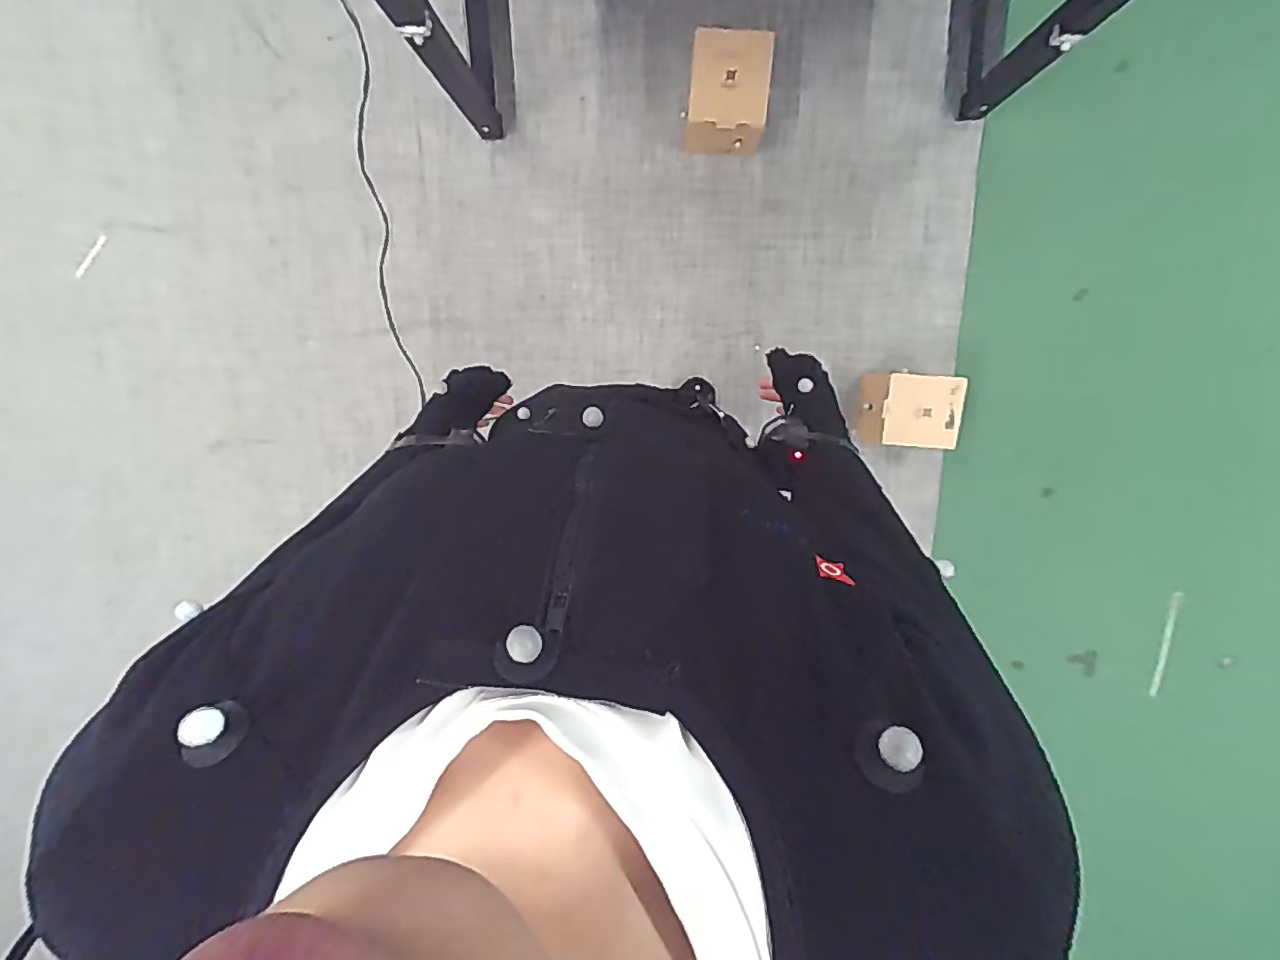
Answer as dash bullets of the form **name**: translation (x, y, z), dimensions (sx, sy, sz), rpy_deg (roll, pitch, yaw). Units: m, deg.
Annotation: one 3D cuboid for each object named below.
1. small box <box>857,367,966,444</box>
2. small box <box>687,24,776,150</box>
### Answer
- **small box**: translation (0.651, -0.186, 1.322), dimensions (0.179, 0.176, 0.168), rpy_deg (5, 102, 2)
- **small box**: translation (0.194, -0.859, 1.199), dimensions (0.168, 0.176, 0.179), rpy_deg (4, 100, 1)
